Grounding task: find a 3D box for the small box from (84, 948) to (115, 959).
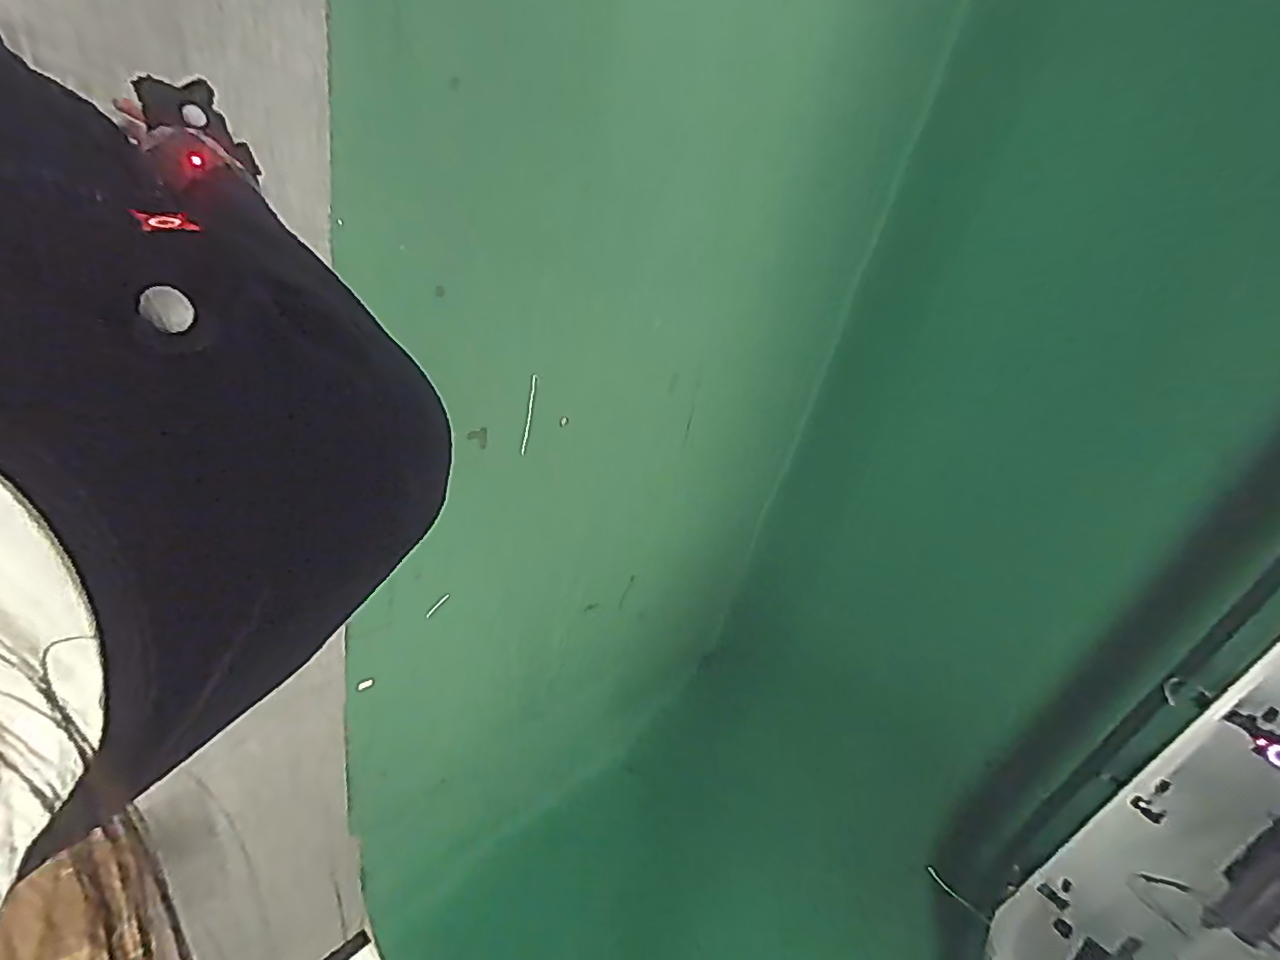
[{"bbox_3d":[-1.394,1.326,1.326,0.179,0.176,0.168,-18,126,-44],"label":"small box"}]
